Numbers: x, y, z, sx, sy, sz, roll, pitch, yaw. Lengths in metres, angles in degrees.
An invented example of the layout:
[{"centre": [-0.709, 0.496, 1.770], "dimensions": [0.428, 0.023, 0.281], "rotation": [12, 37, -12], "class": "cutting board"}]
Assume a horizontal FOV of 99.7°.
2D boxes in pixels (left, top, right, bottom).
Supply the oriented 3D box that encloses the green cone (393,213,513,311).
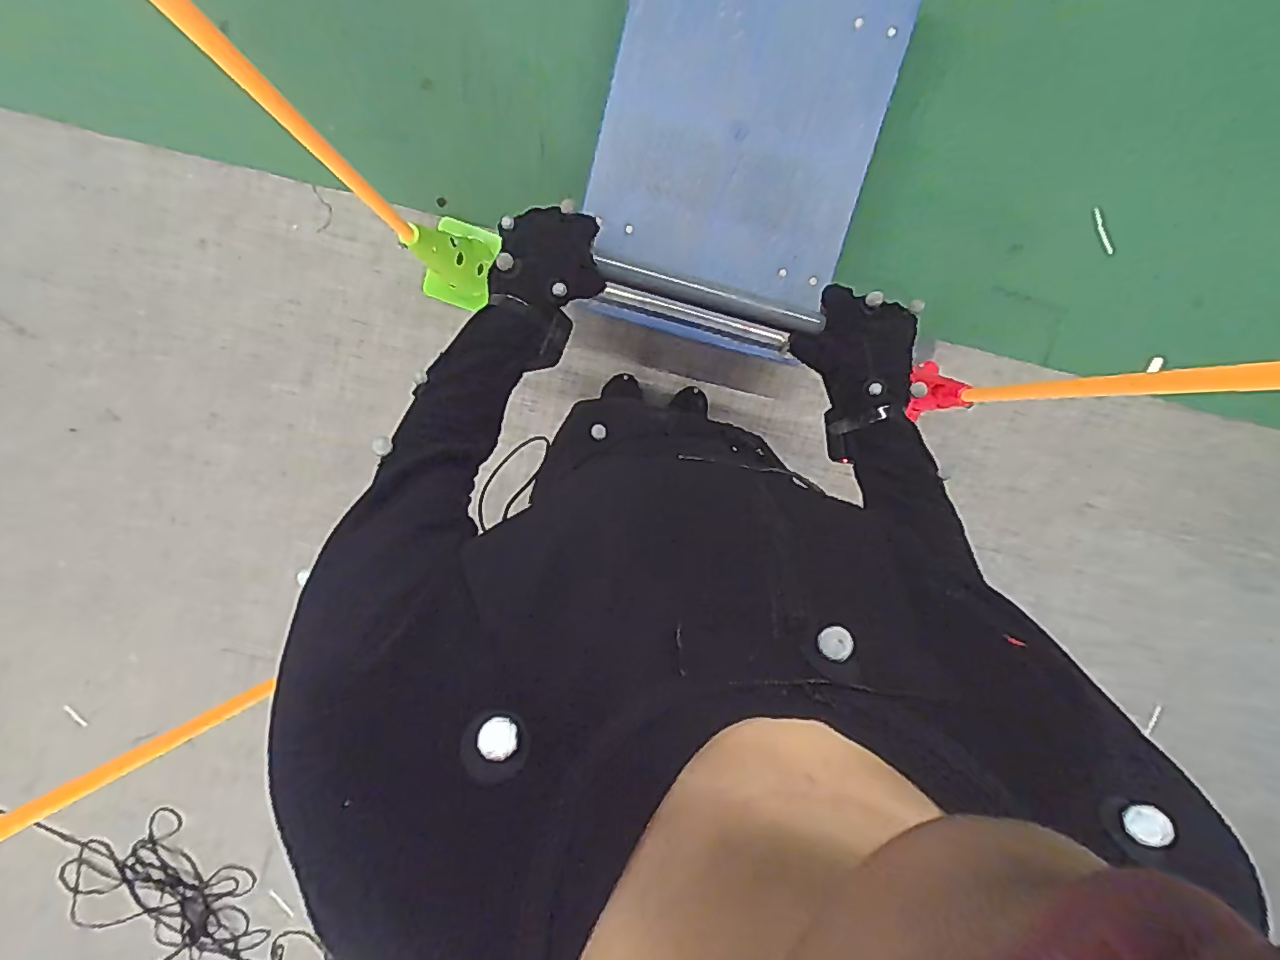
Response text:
[{"centre": [-0.443, -0.523, 1.209], "dimensions": [0.202, 0.368, 0.200], "rotation": [18, 101, -2], "class": "green cone"}]
